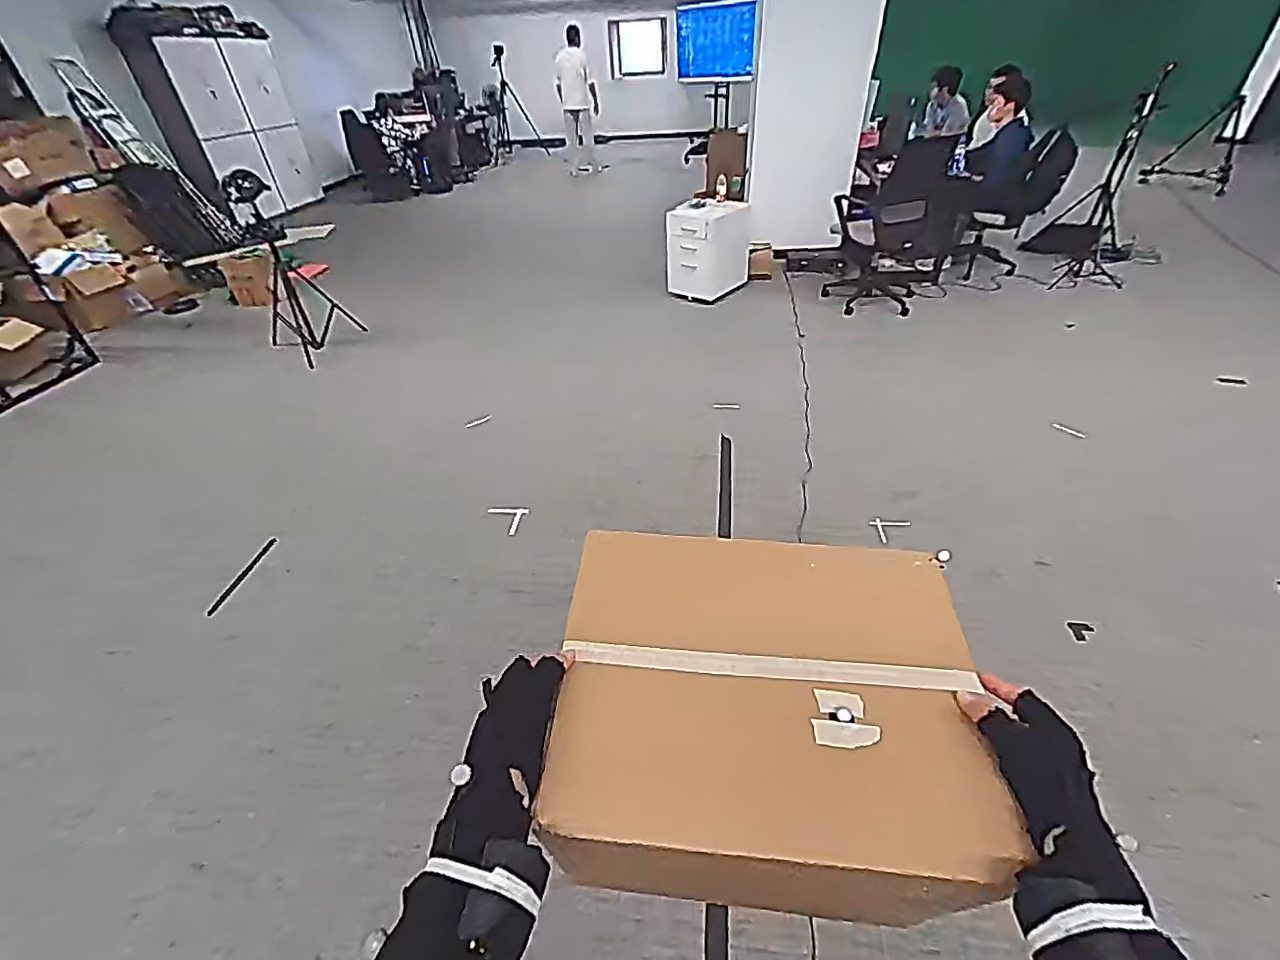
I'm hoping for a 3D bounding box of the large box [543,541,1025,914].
[{"bbox_3d":[0.127,0.296,0.653,0.408,0.320,0.320,3,48,5],"label":"large box"}]
